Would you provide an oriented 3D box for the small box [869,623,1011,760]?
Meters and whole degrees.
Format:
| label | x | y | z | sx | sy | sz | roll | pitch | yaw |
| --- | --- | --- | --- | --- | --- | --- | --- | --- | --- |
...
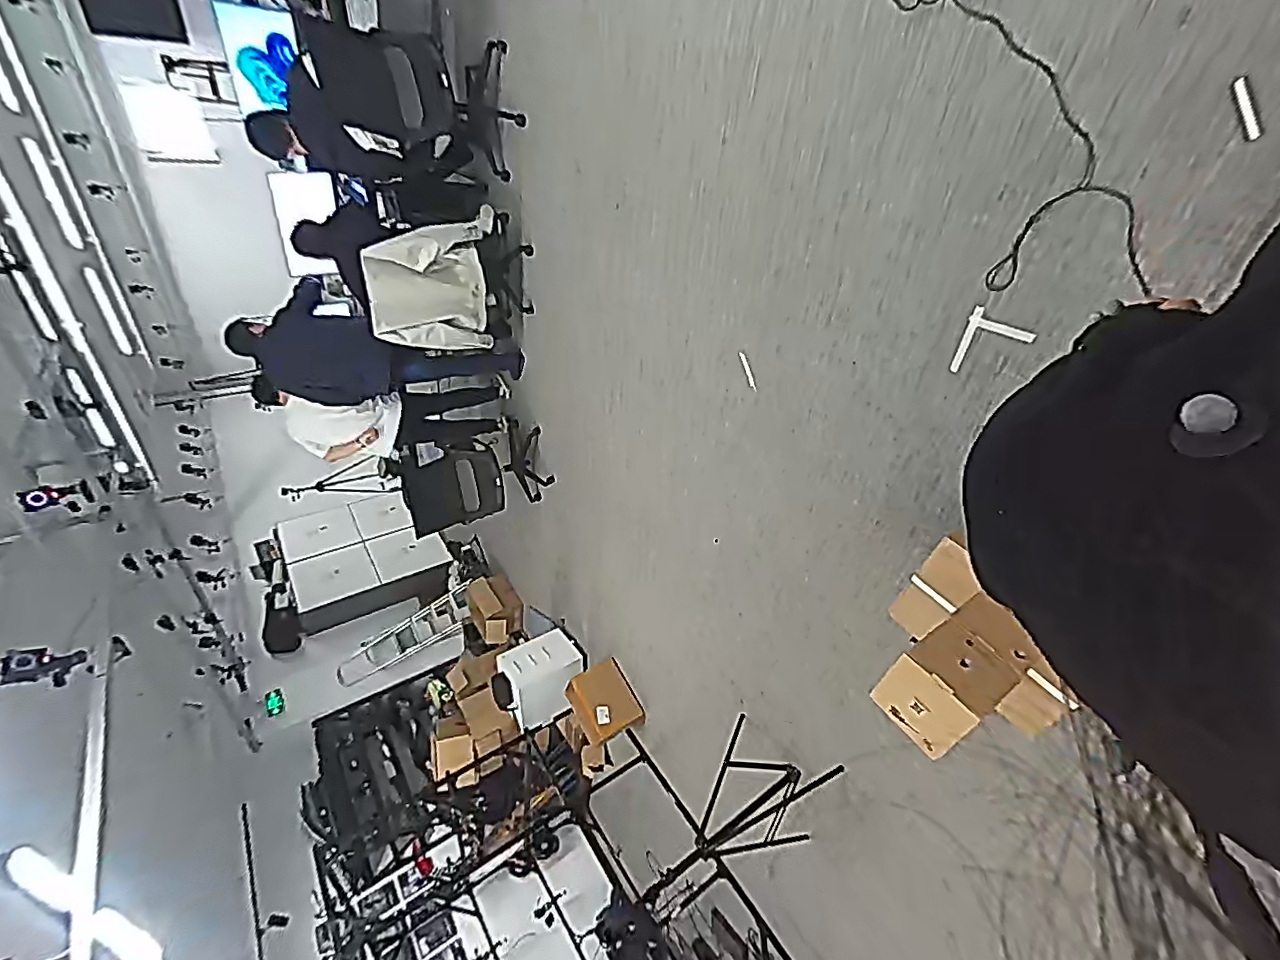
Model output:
| label | x | y | z | sx | sy | sz | roll | pitch | yaw |
| --- | --- | --- | --- | --- | --- | --- | --- | --- | --- |
| small box | 0.618 | 0.426 | 1.110 | 0.168 | 0.176 | 0.179 | 47 | 140 | 35 |
